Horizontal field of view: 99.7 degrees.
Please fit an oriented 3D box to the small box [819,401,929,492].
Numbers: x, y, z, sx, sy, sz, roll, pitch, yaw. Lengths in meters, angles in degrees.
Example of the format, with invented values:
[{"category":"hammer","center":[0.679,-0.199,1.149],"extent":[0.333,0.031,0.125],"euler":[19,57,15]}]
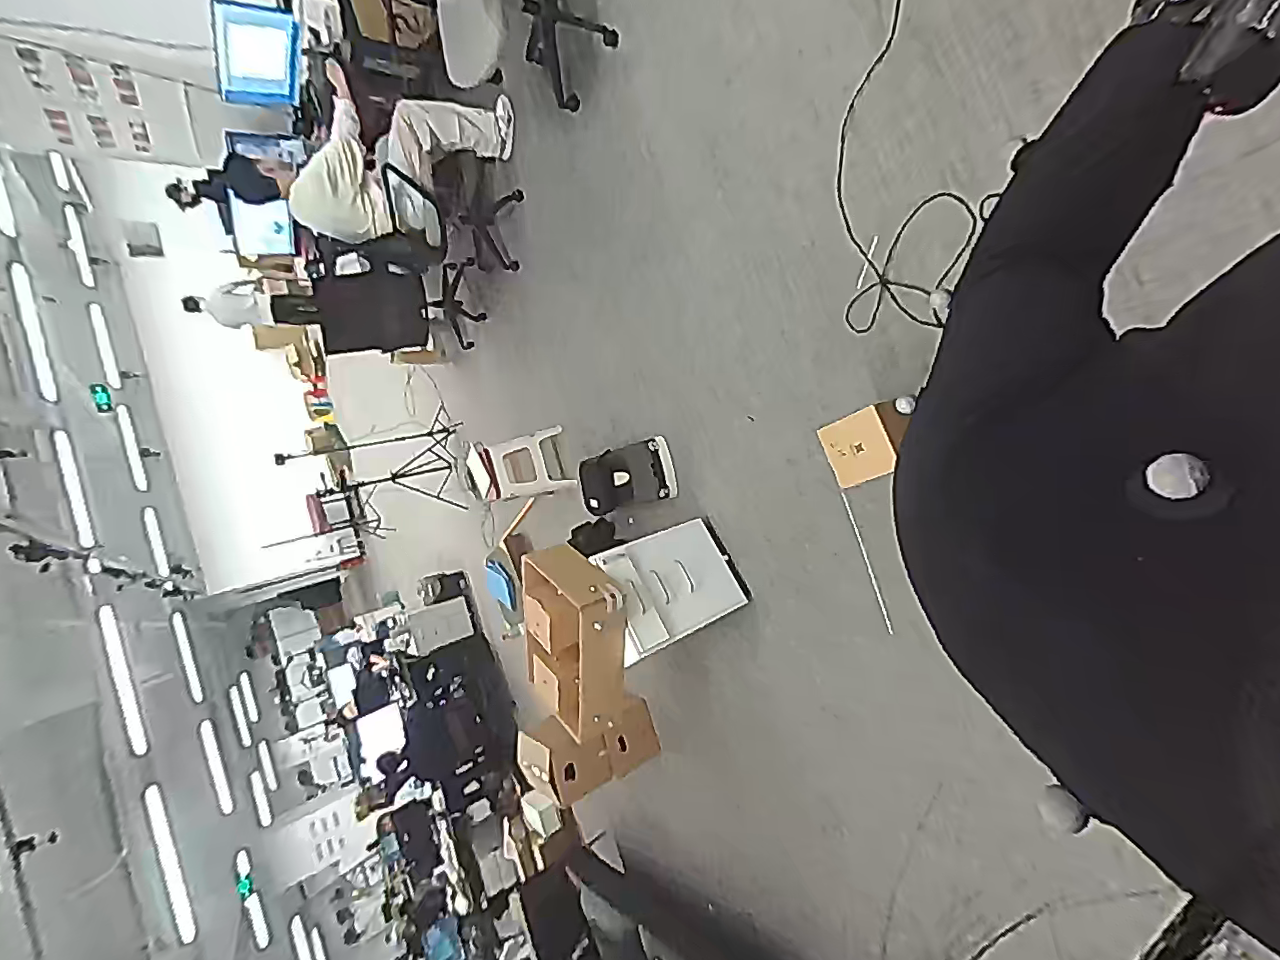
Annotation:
[{"category":"small box","center":[0.596,-0.088,1.365],"extent":[0.179,0.176,0.168],"euler":[-30,79,54]}]
